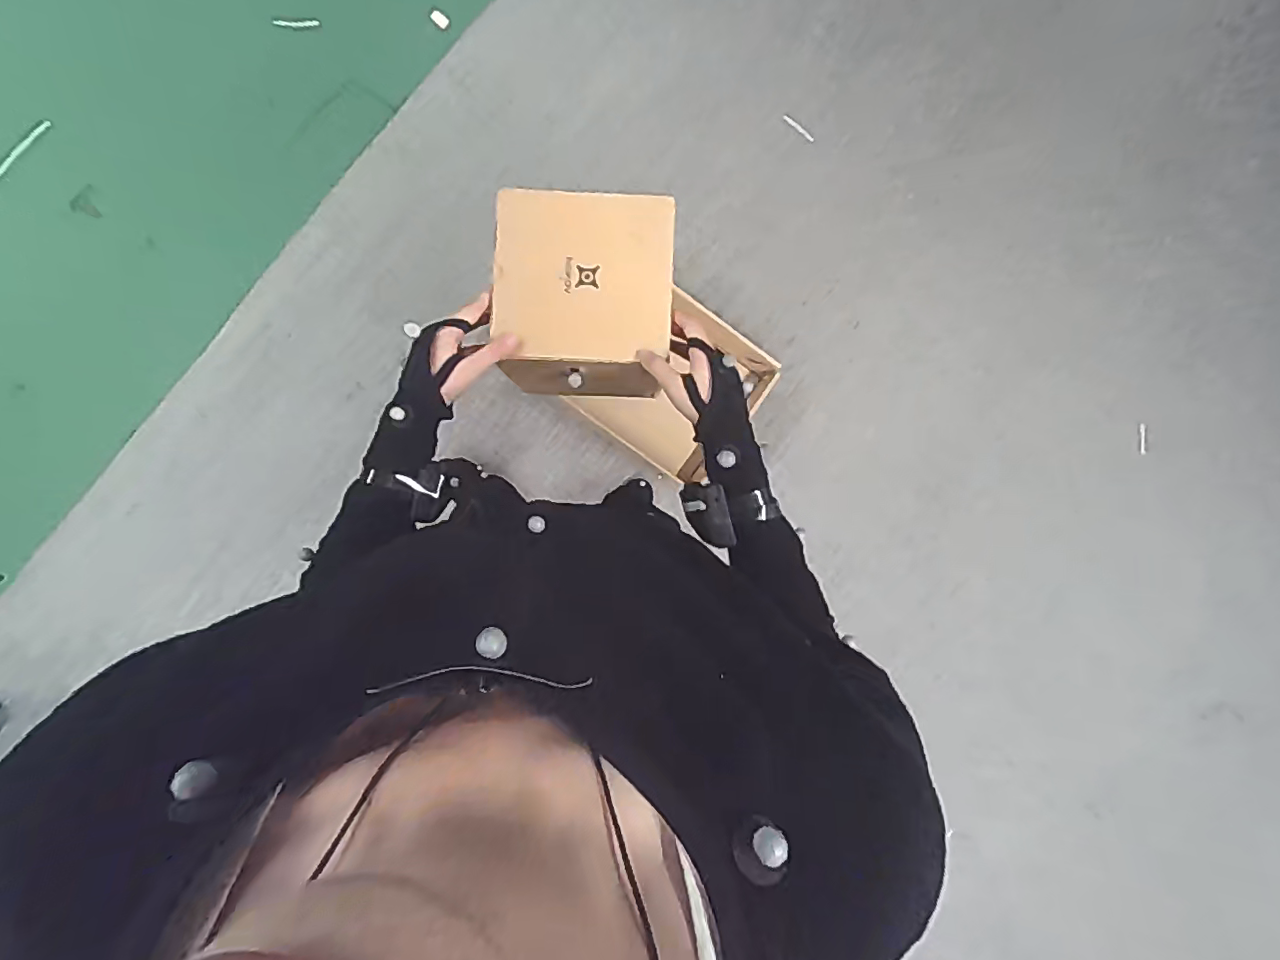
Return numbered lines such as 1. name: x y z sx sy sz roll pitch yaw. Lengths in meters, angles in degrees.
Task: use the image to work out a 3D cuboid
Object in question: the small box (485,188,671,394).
1. small box: -0.061 -0.195 0.601 0.179 0.176 0.168 1 87 0
